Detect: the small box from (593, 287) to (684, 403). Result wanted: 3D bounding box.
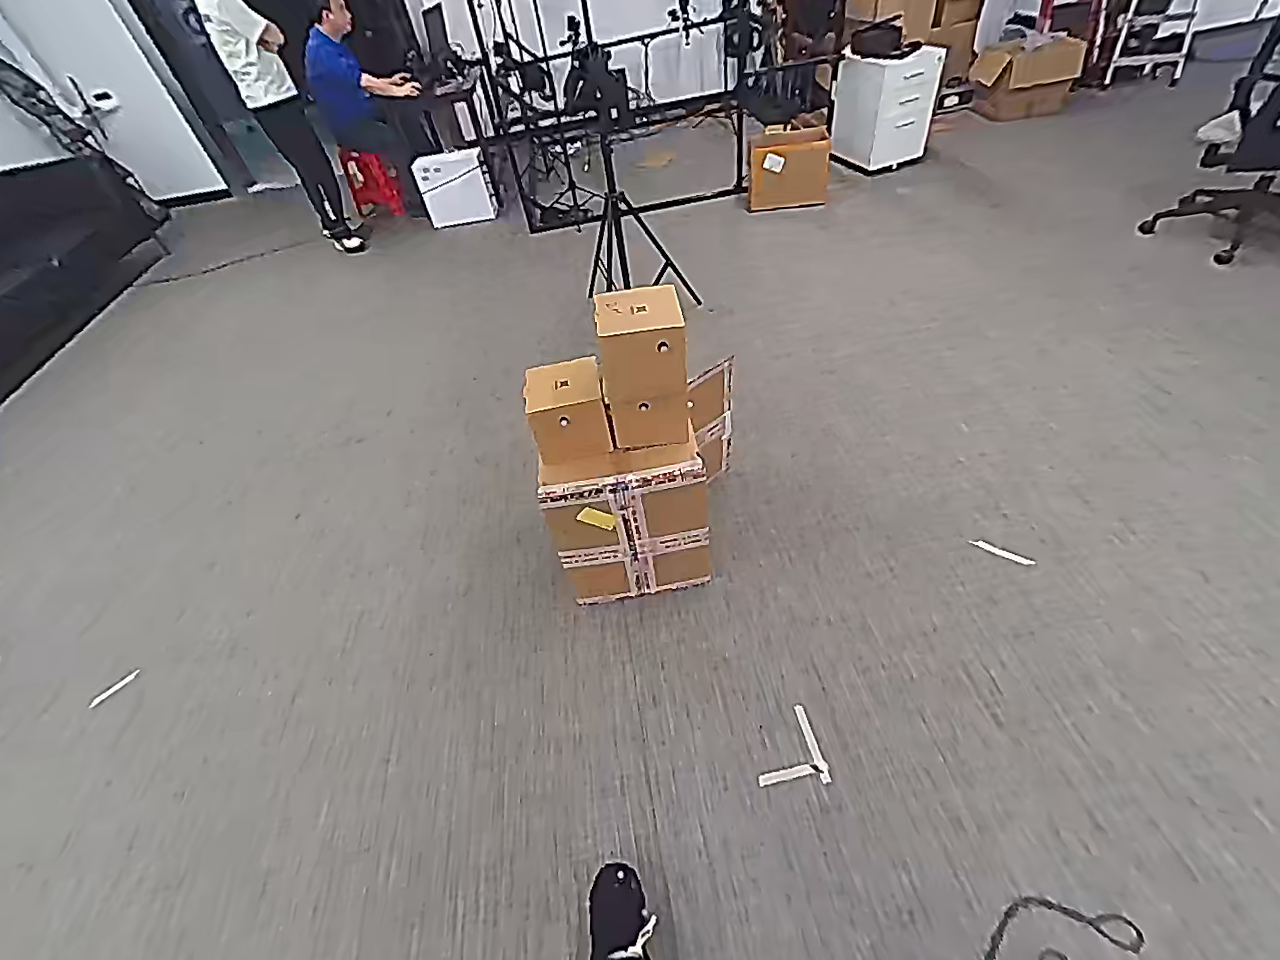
[{"bbox_3d":[-0.002,-0.285,1.155,0.179,0.176,0.168,-8,47,1],"label":"small box"}]

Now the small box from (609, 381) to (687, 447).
[{"bbox_3d":[0.017,-0.193,1.293,0.179,0.176,0.168,-5,48,2],"label":"small box"}]
